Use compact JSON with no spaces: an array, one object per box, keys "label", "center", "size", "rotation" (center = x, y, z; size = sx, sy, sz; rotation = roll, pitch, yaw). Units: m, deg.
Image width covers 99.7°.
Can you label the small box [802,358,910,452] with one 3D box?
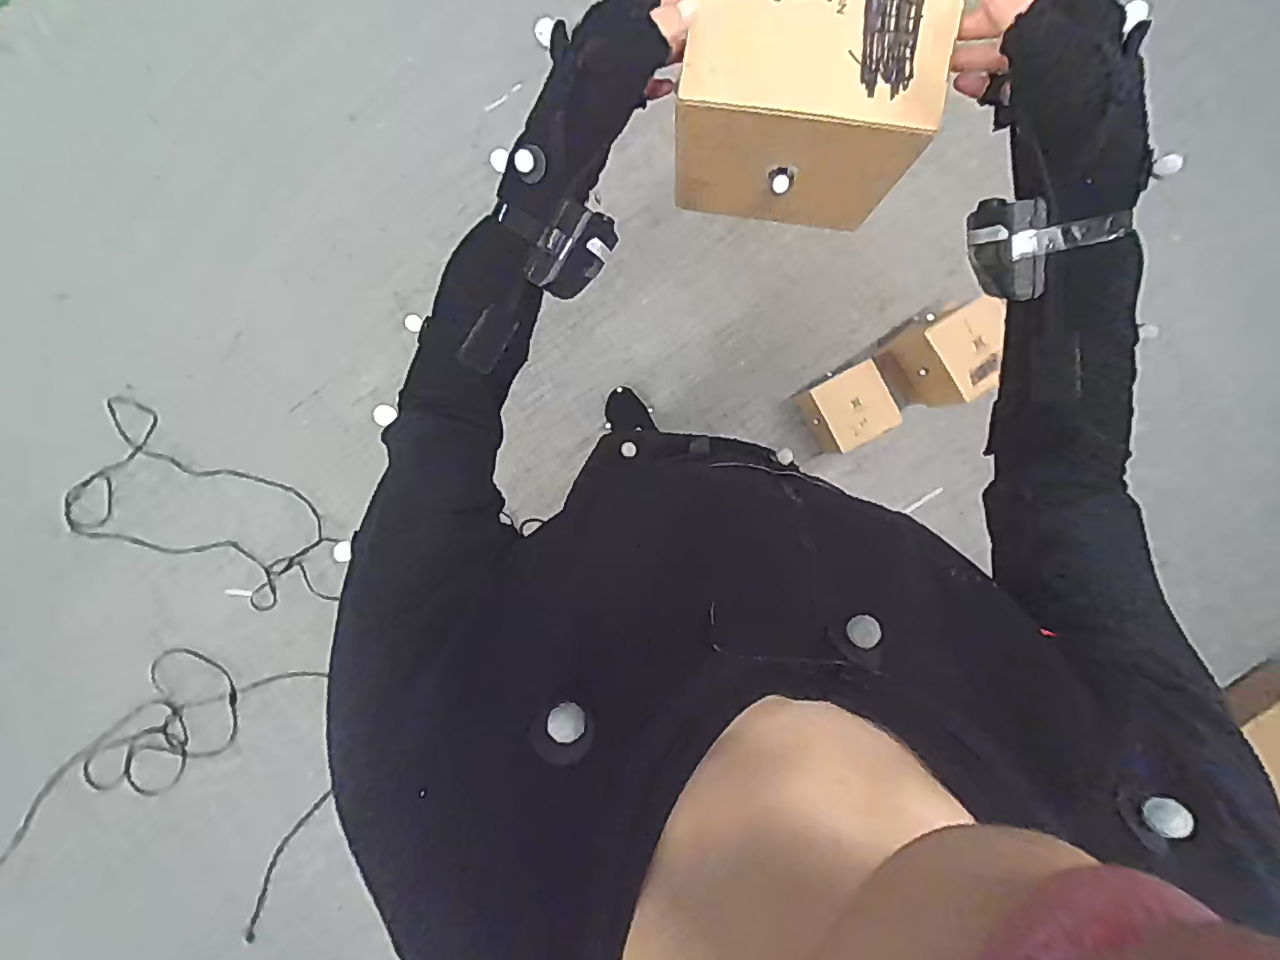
[{"label":"small box","center":[0.532,-0.179,1.359],"size":[0.168,0.176,0.179],"rotation":[-28,92,4]}]

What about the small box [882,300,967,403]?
[{"label":"small box","center":[0.742,-0.309,1.345],"size":[0.168,0.176,0.179],"rotation":[-39,91,4]}]

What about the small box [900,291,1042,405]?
[{"label":"small box","center":[0.712,-0.276,1.183],"size":[0.168,0.176,0.179],"rotation":[-32,91,4]}]
